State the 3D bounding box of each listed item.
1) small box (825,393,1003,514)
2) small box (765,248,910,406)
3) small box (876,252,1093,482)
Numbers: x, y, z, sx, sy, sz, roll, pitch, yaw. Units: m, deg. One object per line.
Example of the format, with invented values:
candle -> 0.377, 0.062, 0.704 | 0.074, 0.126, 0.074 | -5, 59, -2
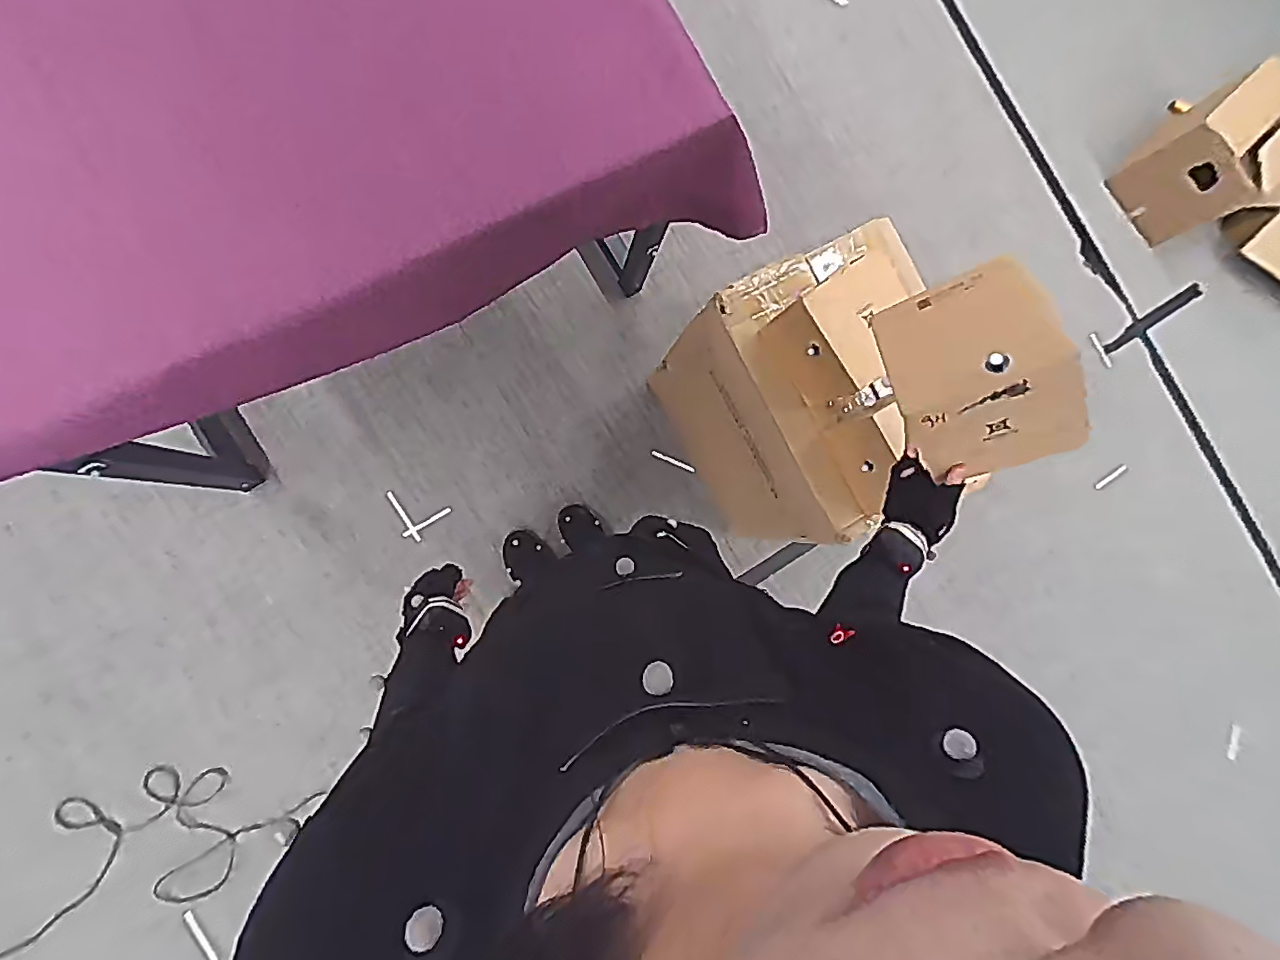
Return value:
small box -> 0.455, -0.054, 0.922 | 0.168, 0.176, 0.179 | -29, 89, -11
small box -> 0.344, -0.248, 0.920 | 0.168, 0.176, 0.179 | -34, 93, -10
small box -> 0.402, -0.127, 0.642 | 0.179, 0.168, 0.176 | 37, 42, -43
